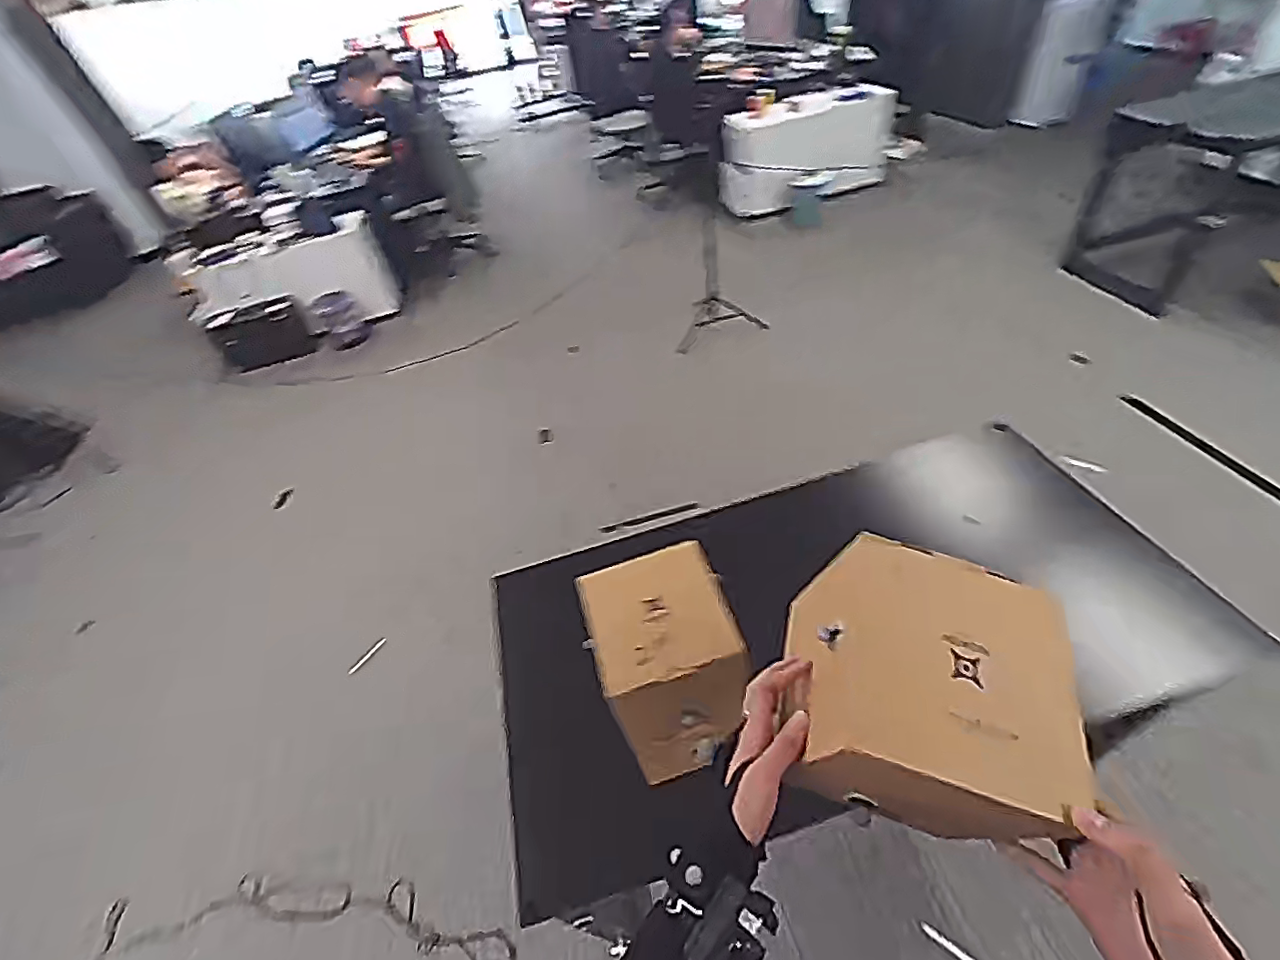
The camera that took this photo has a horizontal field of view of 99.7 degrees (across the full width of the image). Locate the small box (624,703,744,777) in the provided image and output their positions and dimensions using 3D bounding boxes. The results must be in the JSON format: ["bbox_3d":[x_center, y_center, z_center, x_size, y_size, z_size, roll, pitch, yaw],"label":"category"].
[{"bbox_3d":[0.054,0.332,0.834,0.168,0.176,0.179,-18,46,-6],"label":"small box"}]

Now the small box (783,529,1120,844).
[{"bbox_3d":[0.233,0.175,0.450,0.168,0.176,0.179,19,56,4],"label":"small box"}]

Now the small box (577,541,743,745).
[{"bbox_3d":[0.028,0.217,0.719,0.168,0.176,0.179,-19,46,-5],"label":"small box"}]
